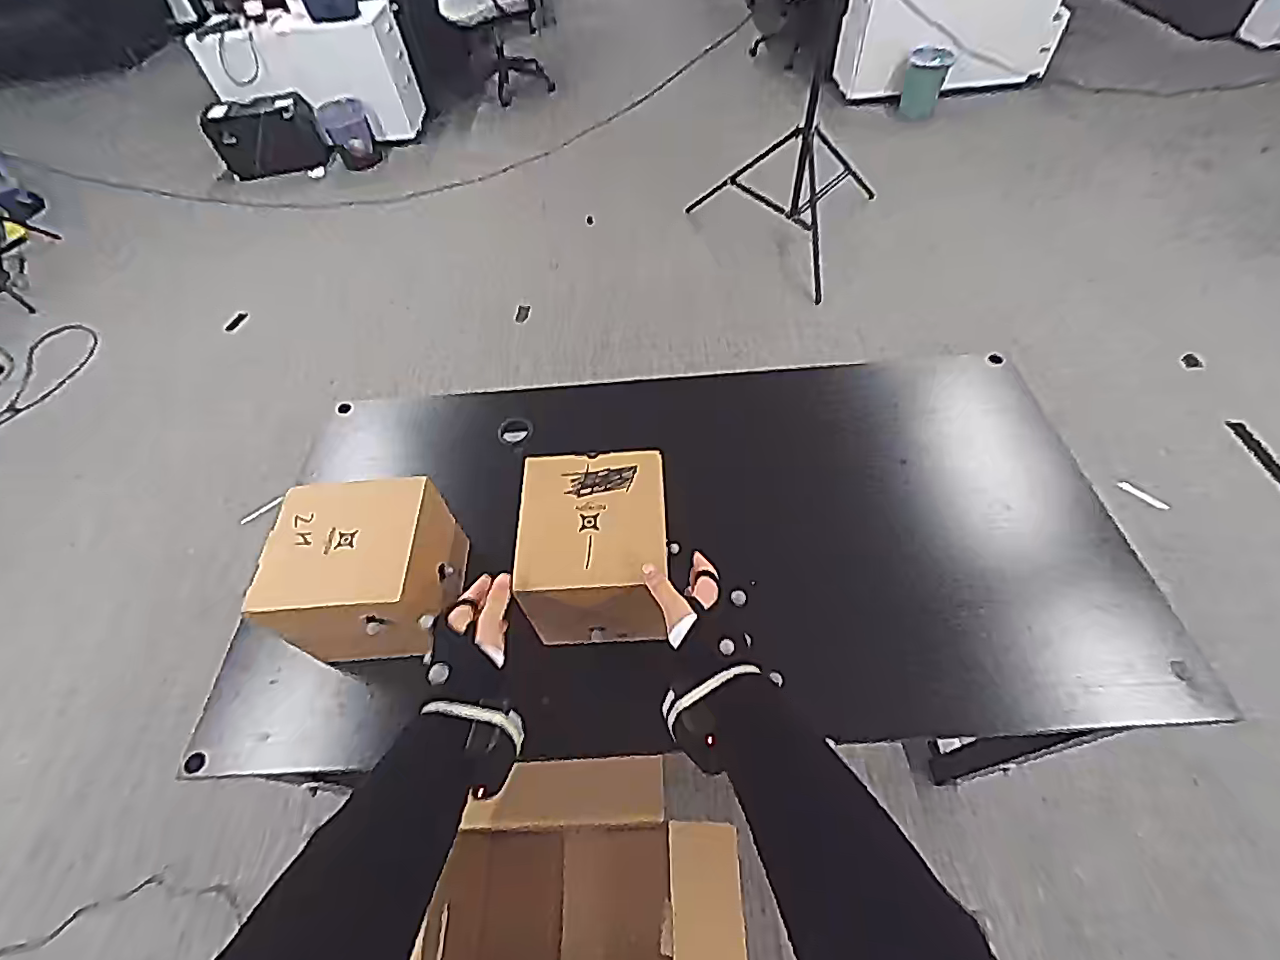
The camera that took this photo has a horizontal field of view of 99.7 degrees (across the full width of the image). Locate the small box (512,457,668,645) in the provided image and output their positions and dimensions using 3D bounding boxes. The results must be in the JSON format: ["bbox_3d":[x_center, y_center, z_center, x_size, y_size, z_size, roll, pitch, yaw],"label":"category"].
[{"bbox_3d":[-0.051,0.092,0.681,0.168,0.176,0.179,-4,54,2],"label":"small box"}]

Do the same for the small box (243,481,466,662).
[{"bbox_3d":[-0.335,0.120,0.683,0.179,0.176,0.168,-5,53,1],"label":"small box"}]
